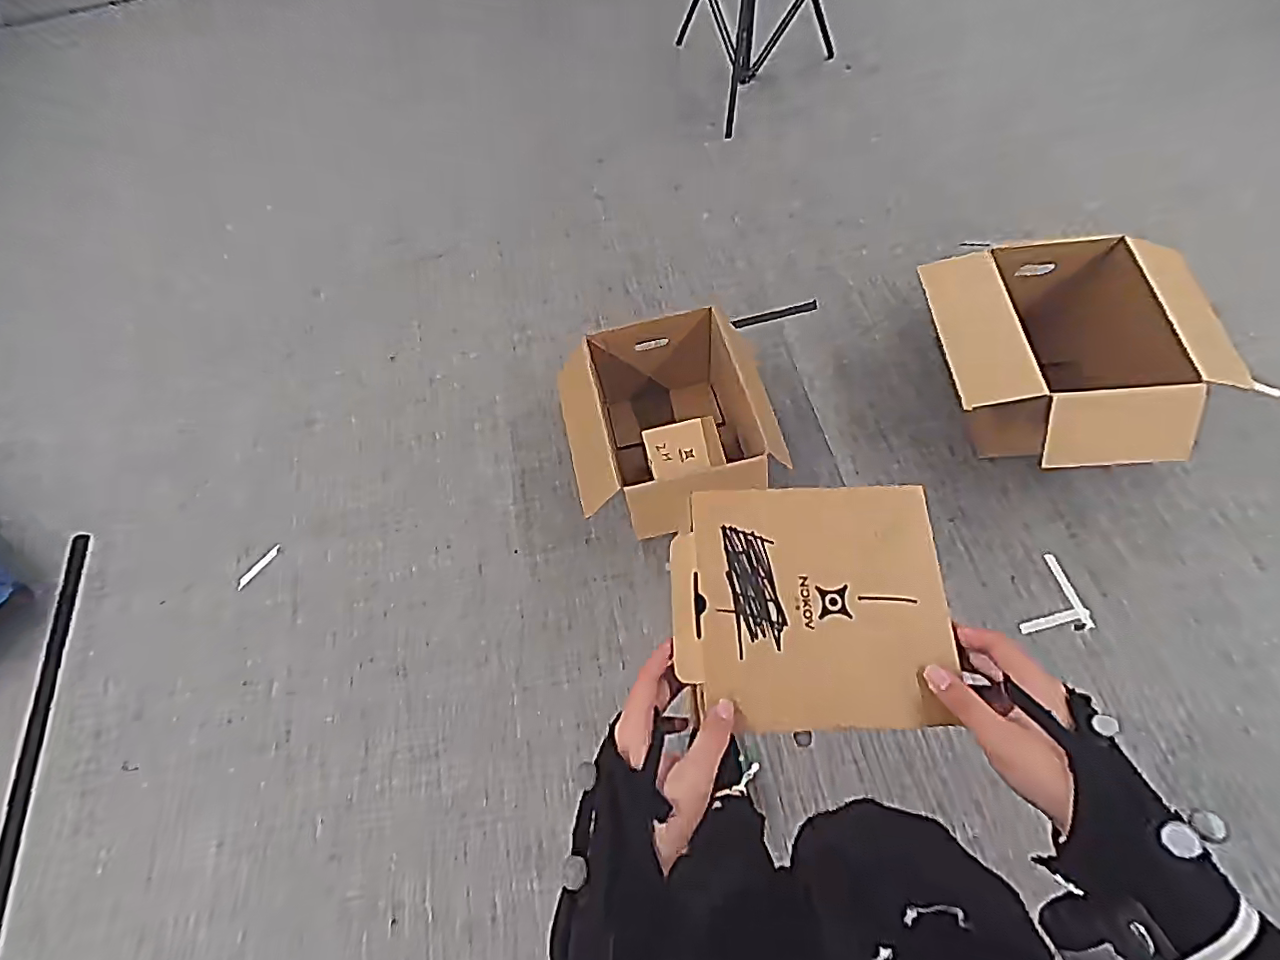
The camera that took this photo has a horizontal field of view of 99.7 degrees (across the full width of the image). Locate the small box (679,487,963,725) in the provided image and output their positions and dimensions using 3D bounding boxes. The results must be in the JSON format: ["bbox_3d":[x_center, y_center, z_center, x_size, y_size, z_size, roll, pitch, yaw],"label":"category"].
[{"bbox_3d":[0.124,0.109,0.453,0.179,0.176,0.168,-1,71,-1],"label":"small box"}]
